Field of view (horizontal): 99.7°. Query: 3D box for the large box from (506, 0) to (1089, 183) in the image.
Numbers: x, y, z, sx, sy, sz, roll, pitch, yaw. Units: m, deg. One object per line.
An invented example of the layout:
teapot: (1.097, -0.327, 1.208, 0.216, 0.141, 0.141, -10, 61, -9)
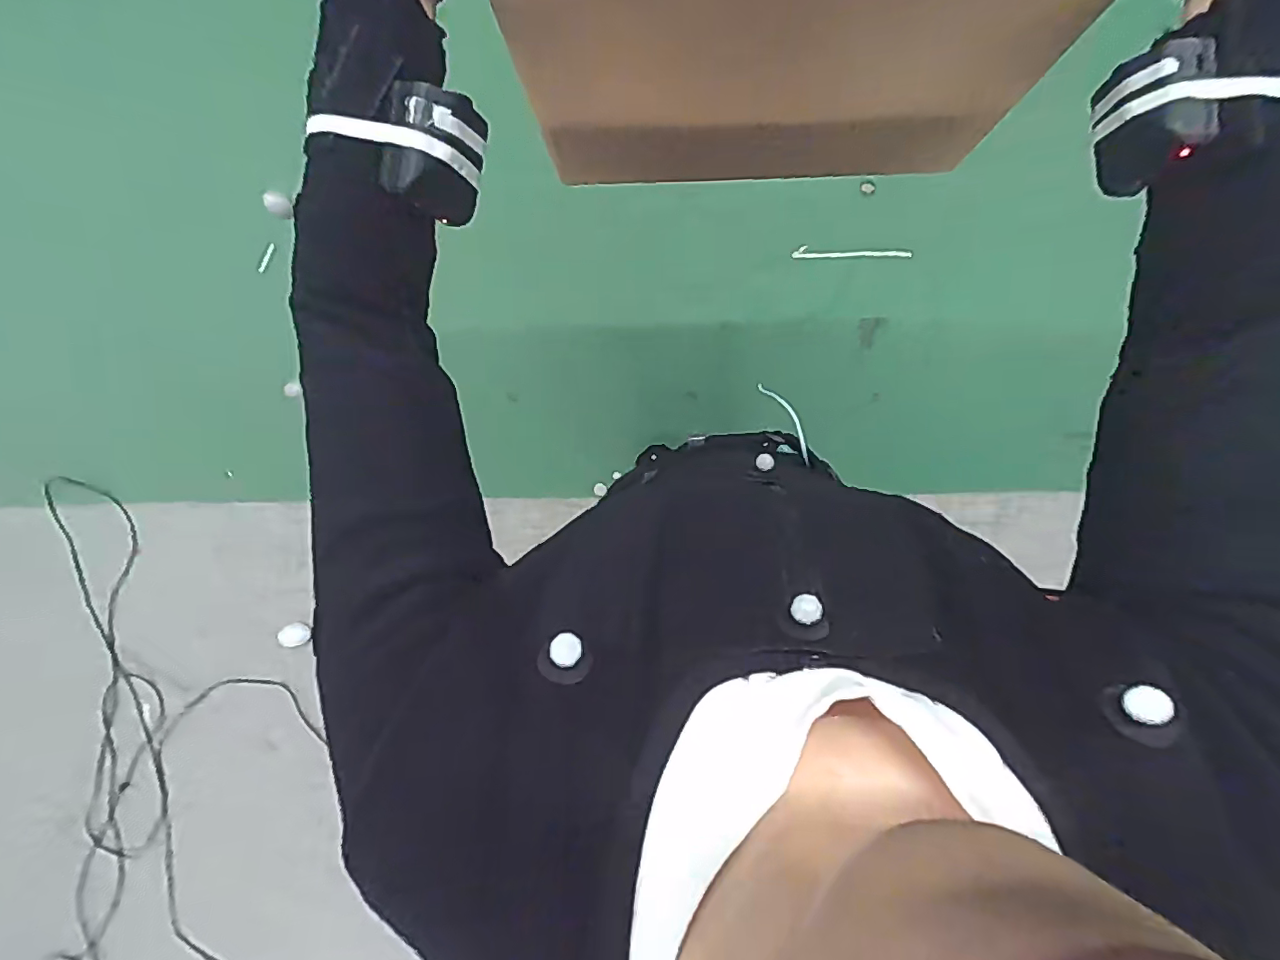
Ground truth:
large box: (0.105, -0.465, 0.411, 0.408, 0.320, 0.320, -1, 92, 2)
